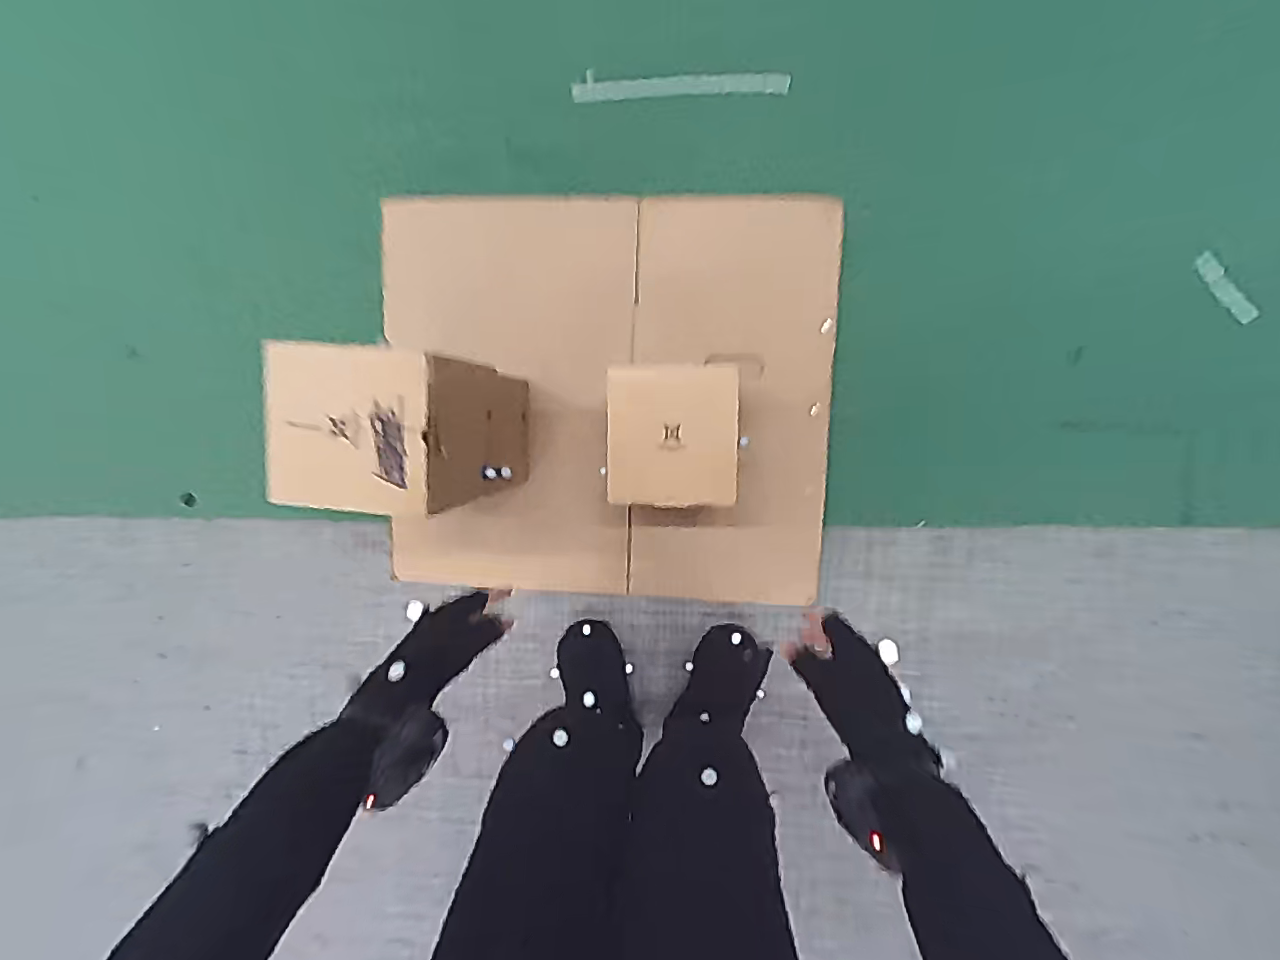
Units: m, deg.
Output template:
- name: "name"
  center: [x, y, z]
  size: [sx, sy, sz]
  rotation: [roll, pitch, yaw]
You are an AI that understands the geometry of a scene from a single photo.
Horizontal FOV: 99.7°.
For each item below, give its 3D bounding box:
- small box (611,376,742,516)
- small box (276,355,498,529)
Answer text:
- name: "small box"
  center: [0.051, -0.049, 0.759]
  size: [0.168, 0.176, 0.179]
  rotation: [0, 96, 6]
- name: "small box"
  center: [-0.276, -0.047, 0.622]
  size: [0.179, 0.176, 0.168]
  rotation: [5, 96, 7]
